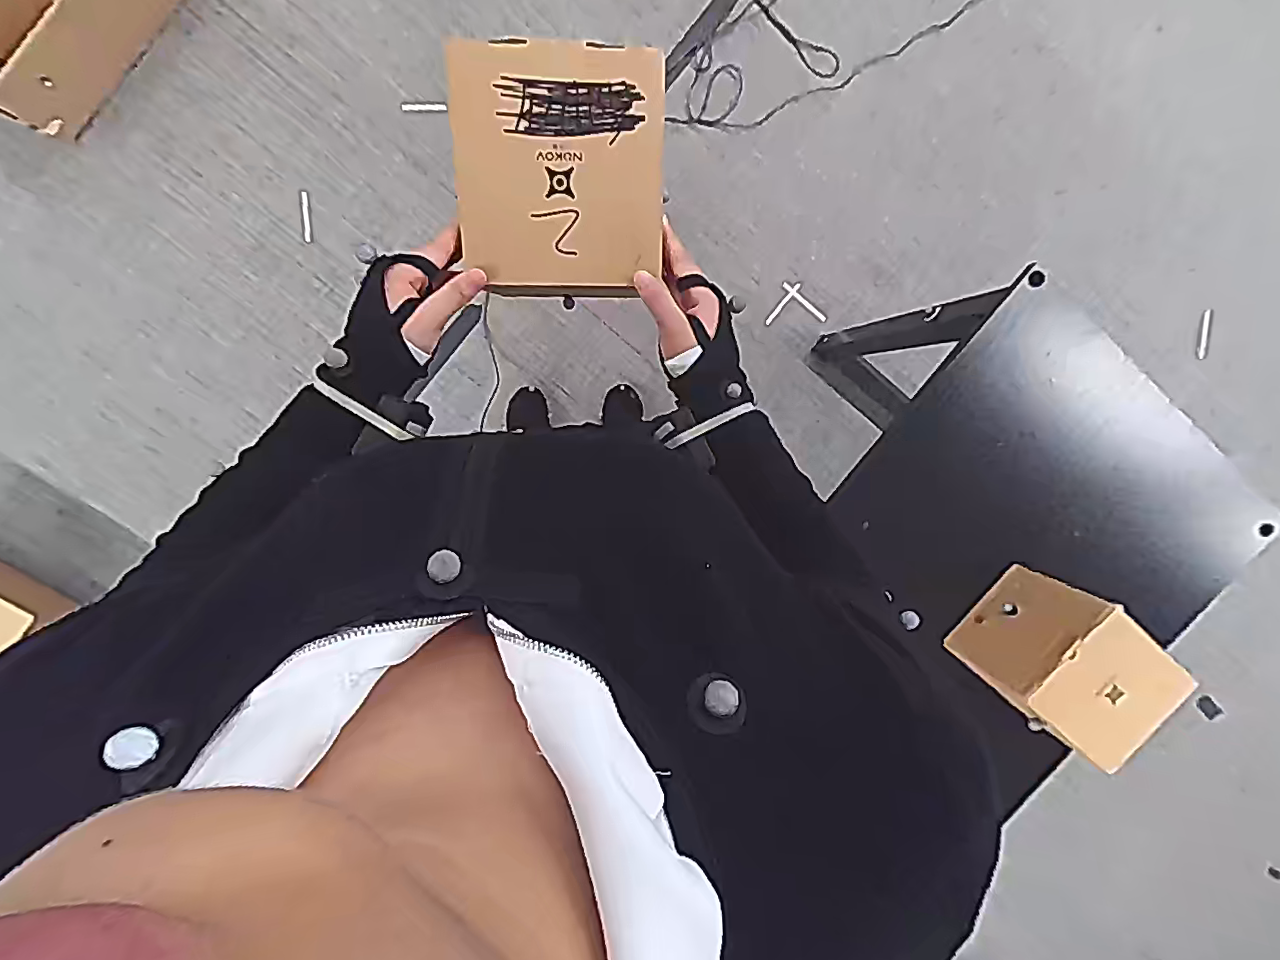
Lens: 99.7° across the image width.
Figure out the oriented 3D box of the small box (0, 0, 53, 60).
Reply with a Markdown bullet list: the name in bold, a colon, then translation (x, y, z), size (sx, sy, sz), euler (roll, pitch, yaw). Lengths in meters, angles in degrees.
- **small box**: translation (-1.393, -1.028, 1.108), size (0.168, 0.176, 0.179), euler (40, 92, -11)

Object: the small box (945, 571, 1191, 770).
- **small box**: translation (0.590, 0.255, 0.768), size (0.179, 0.176, 0.168), euler (40, 94, -9)
